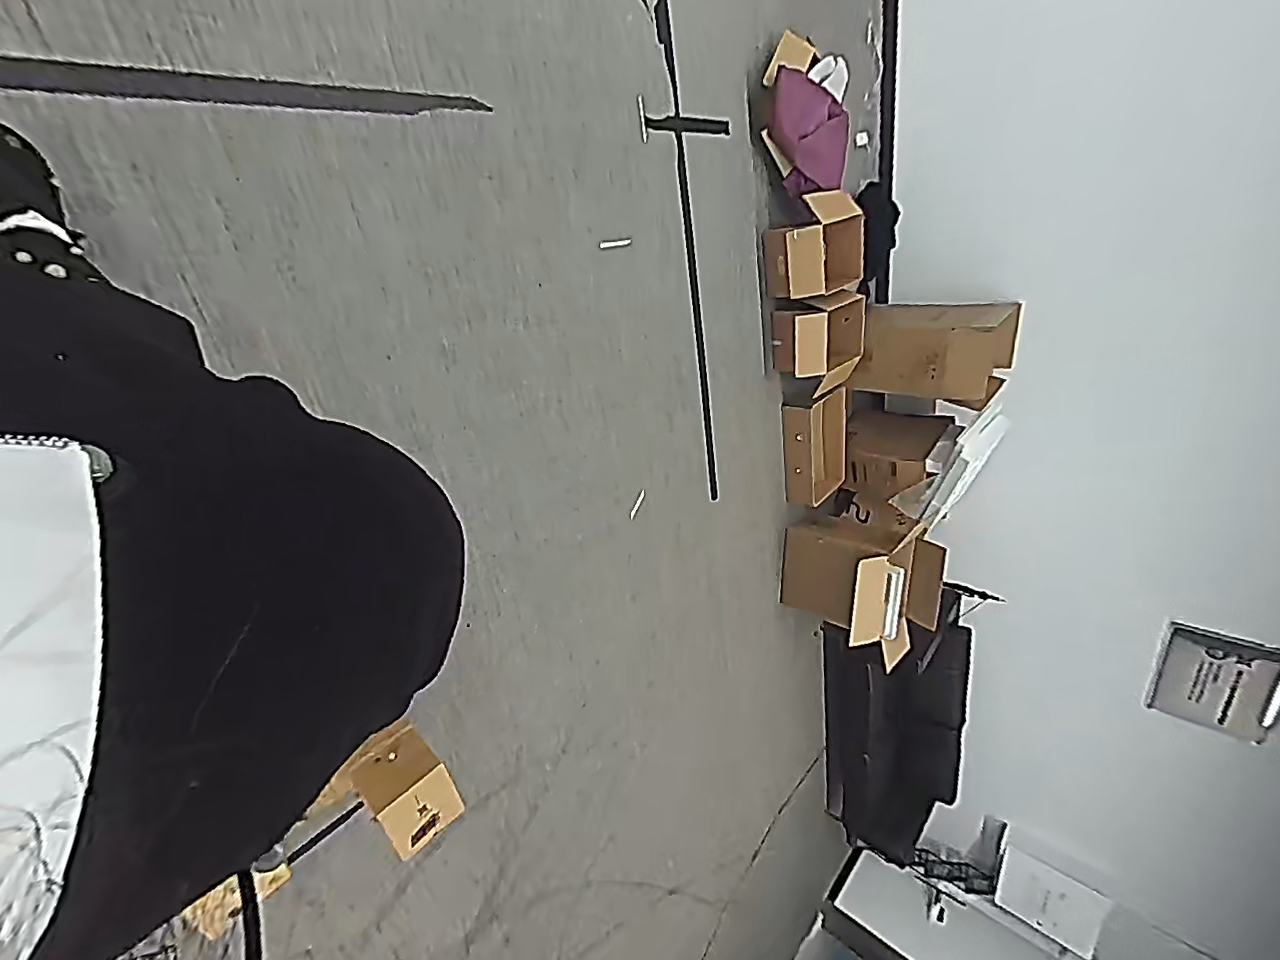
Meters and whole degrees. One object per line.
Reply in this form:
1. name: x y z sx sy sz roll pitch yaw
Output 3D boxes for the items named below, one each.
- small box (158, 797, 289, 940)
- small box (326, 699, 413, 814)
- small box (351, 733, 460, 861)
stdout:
1. small box: -0.936 0.856 1.214 0.168 0.176 0.179 -32 122 -39
2. small box: -0.695 0.720 1.428 0.168 0.176 0.179 -30 122 -38
3. small box: -0.574 0.765 1.326 0.168 0.176 0.179 -31 122 -37
